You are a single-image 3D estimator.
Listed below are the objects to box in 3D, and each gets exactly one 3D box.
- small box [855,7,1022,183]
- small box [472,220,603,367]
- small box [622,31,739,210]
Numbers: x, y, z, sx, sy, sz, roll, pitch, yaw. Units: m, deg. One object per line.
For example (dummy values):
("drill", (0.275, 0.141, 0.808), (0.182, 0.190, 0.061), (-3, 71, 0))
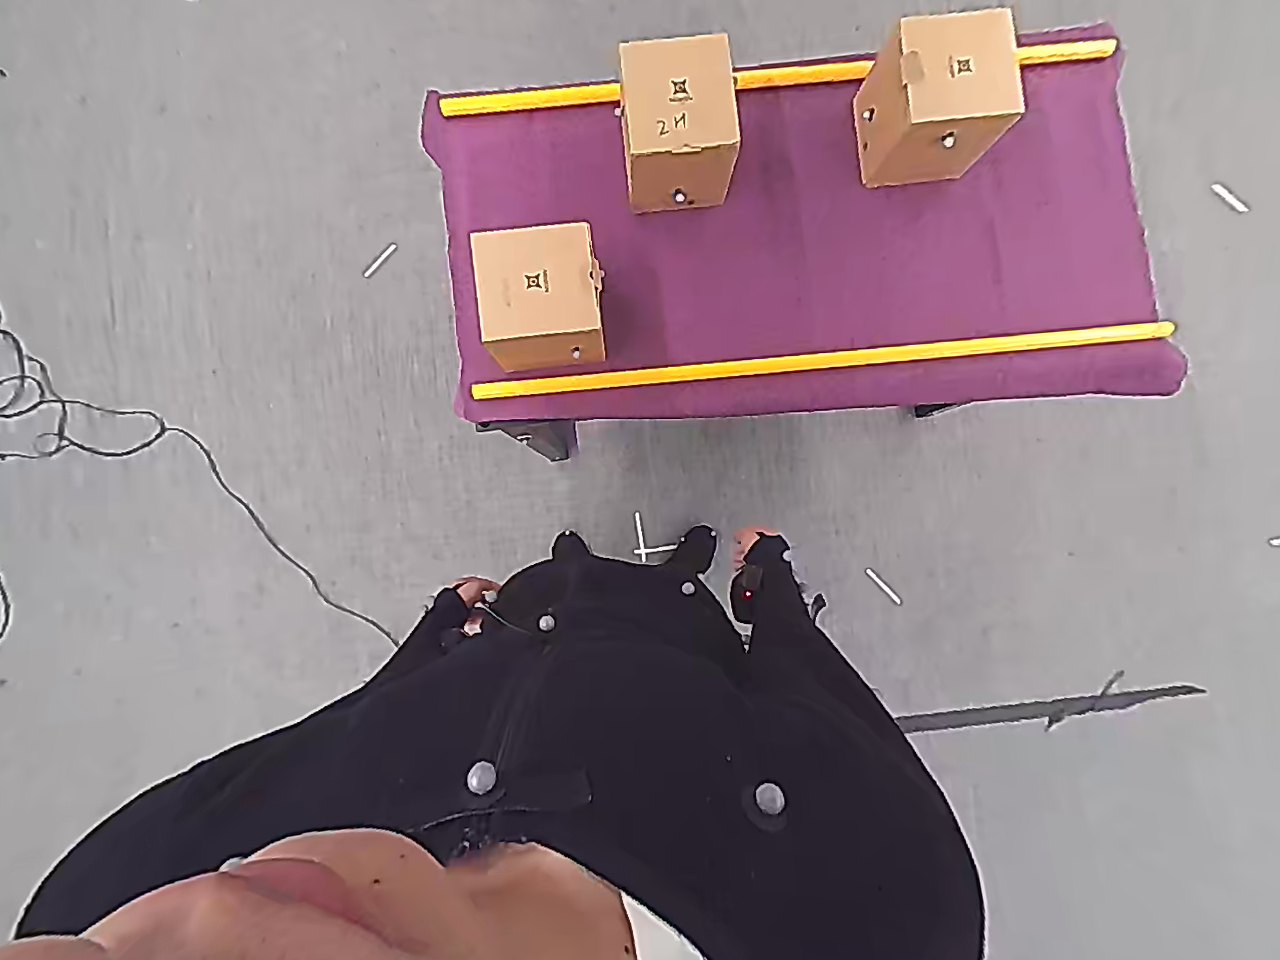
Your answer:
("small box", (0.479, -0.618, 0.888), (0.179, 0.176, 0.168), (-6, 88, 0))
("small box", (-0.154, -0.287, 0.863), (0.179, 0.176, 0.168), (-7, 86, -3))
("small box", (0.058, -0.575, 0.883), (0.168, 0.176, 0.179), (-6, 88, 0))
